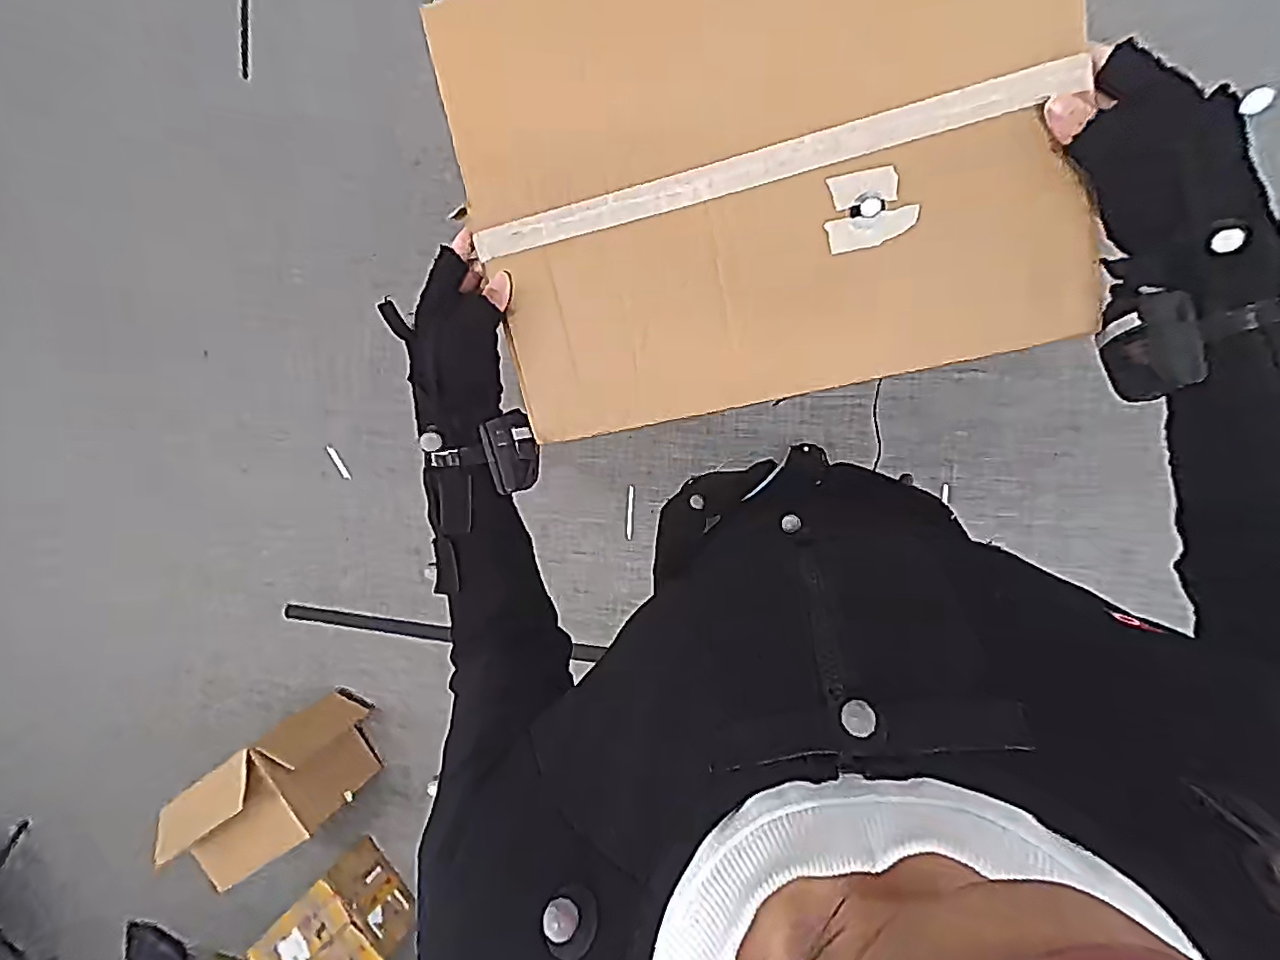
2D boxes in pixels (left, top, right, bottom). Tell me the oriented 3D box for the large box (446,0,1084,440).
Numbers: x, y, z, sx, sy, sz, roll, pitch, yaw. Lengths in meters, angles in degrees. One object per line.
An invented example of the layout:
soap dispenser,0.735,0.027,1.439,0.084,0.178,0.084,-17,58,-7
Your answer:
large box,0.101,-0.249,0.523,0.408,0.320,0.320,-11,102,10
